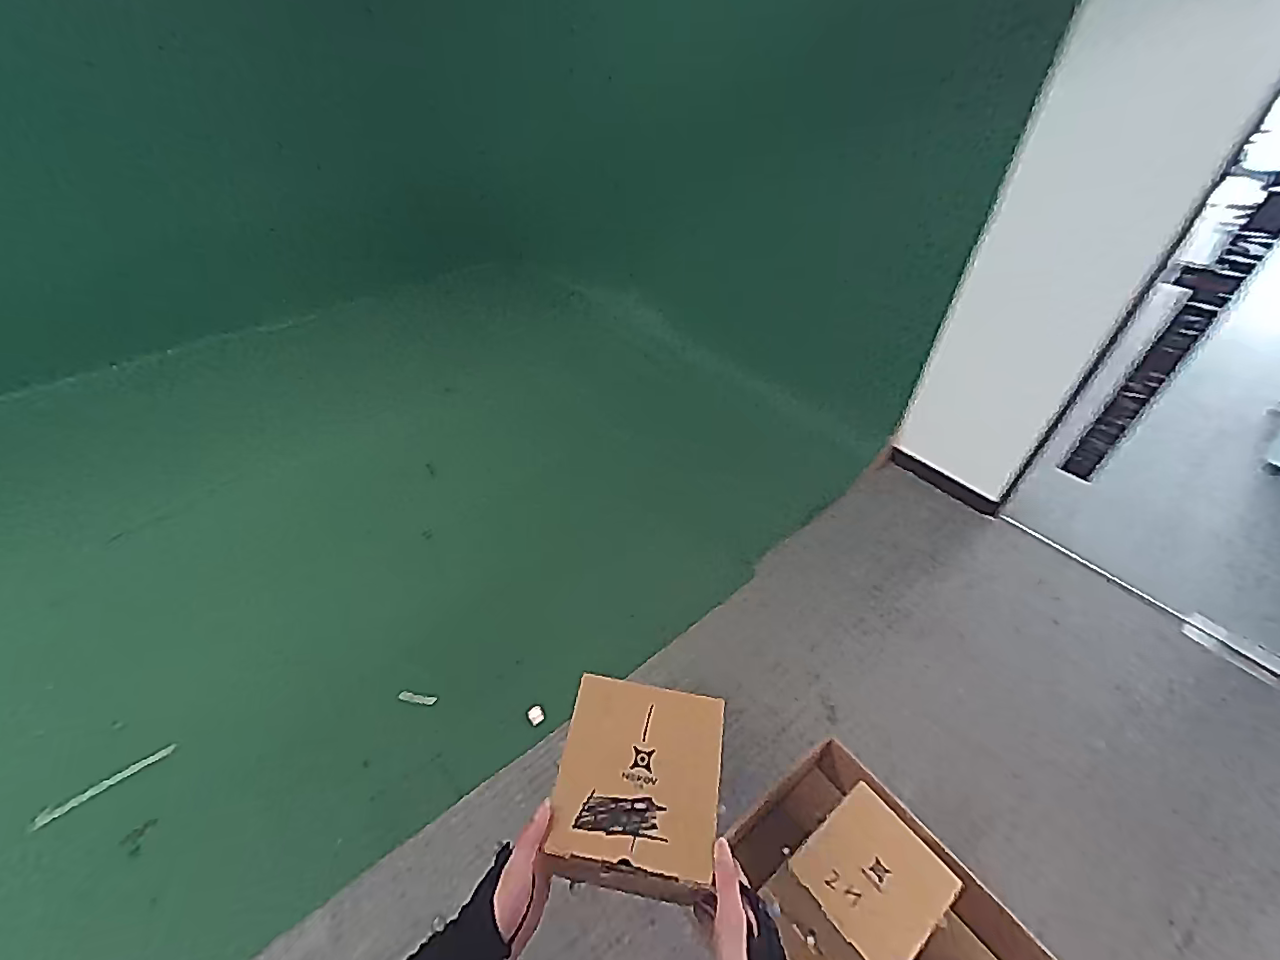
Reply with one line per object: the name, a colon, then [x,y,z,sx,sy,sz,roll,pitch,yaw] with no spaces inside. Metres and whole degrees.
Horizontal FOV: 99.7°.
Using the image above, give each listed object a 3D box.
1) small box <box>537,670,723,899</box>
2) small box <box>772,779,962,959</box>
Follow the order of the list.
small box: [-0.006,0.344,0.608,0.168,0.176,0.179,10,47,4]
small box: [0.318,0.588,0.793,0.179,0.176,0.168,-28,52,-26]
